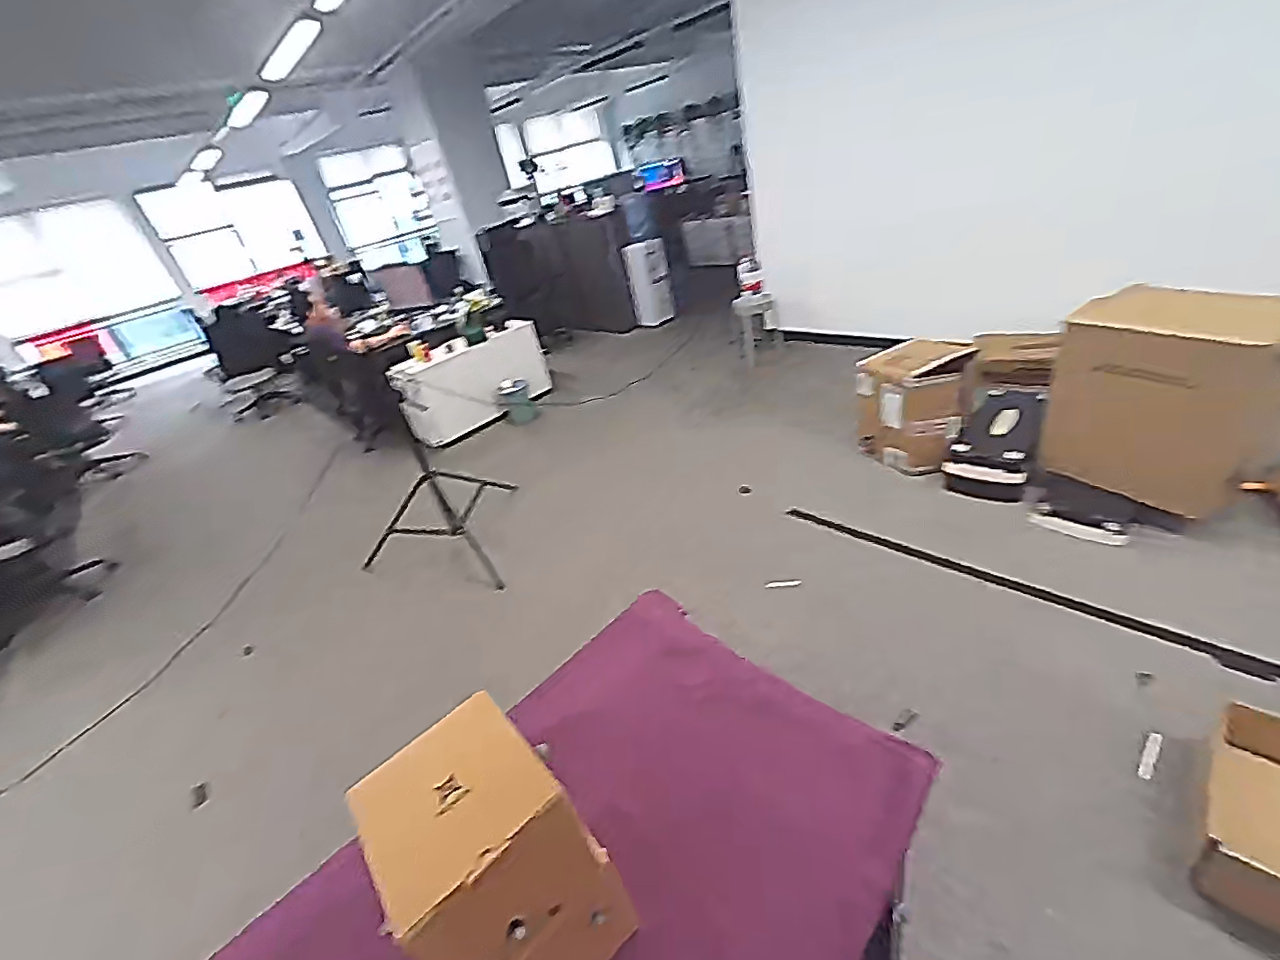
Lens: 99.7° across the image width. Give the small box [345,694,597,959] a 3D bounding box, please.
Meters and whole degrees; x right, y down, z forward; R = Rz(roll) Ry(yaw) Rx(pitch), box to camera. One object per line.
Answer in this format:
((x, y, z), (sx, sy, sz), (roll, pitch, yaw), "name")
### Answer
((-0.172, 0.376, 0.570), (0.168, 0.176, 0.179), (-33, 36, -29), "small box")
